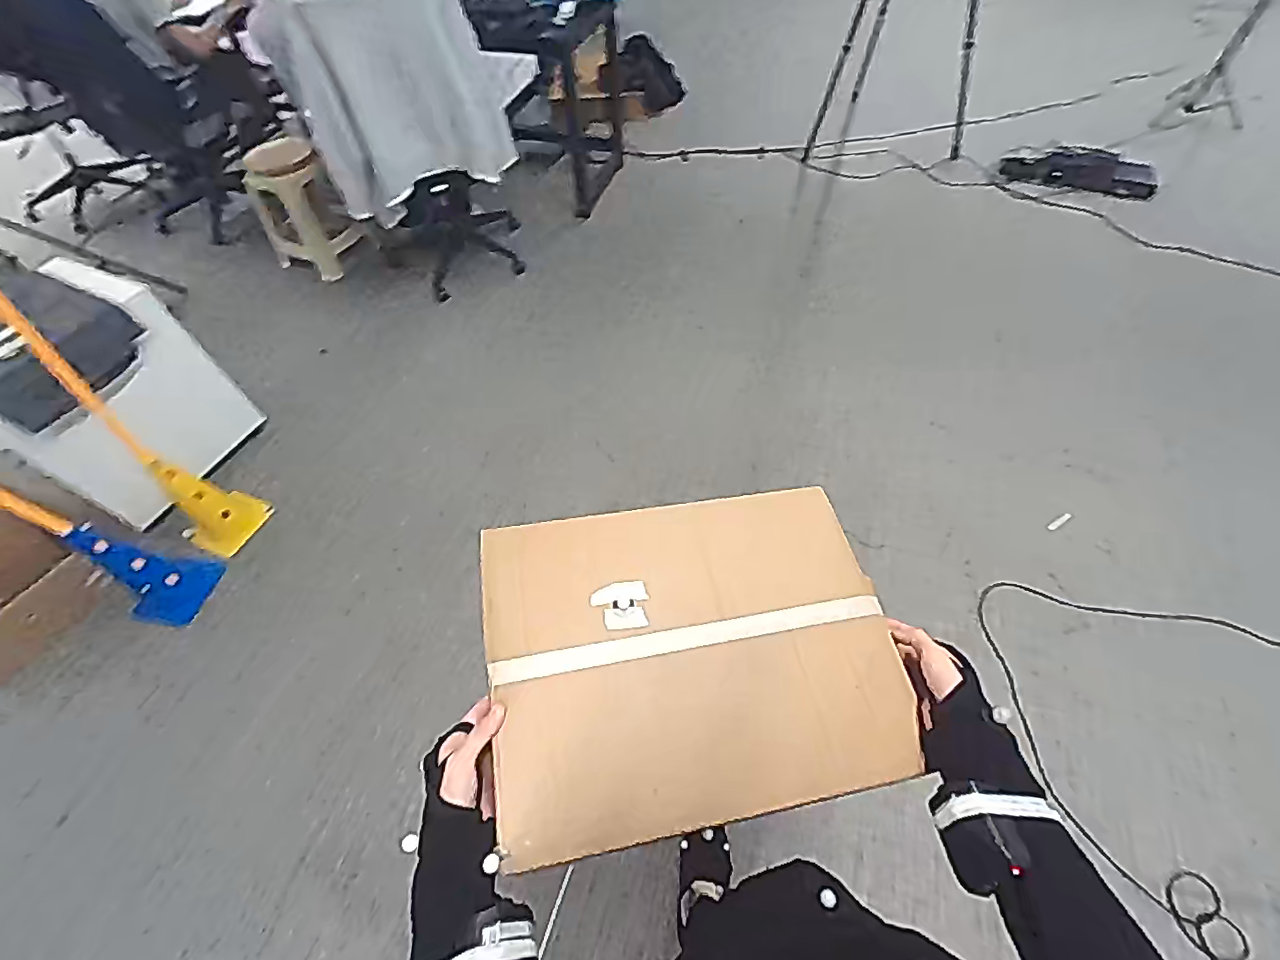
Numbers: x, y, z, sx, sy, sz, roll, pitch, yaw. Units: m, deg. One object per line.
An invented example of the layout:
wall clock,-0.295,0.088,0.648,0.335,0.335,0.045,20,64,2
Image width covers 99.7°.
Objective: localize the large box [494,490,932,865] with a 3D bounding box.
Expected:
large box,0.051,0.243,0.684,0.408,0.320,0.320,-7,59,-9
